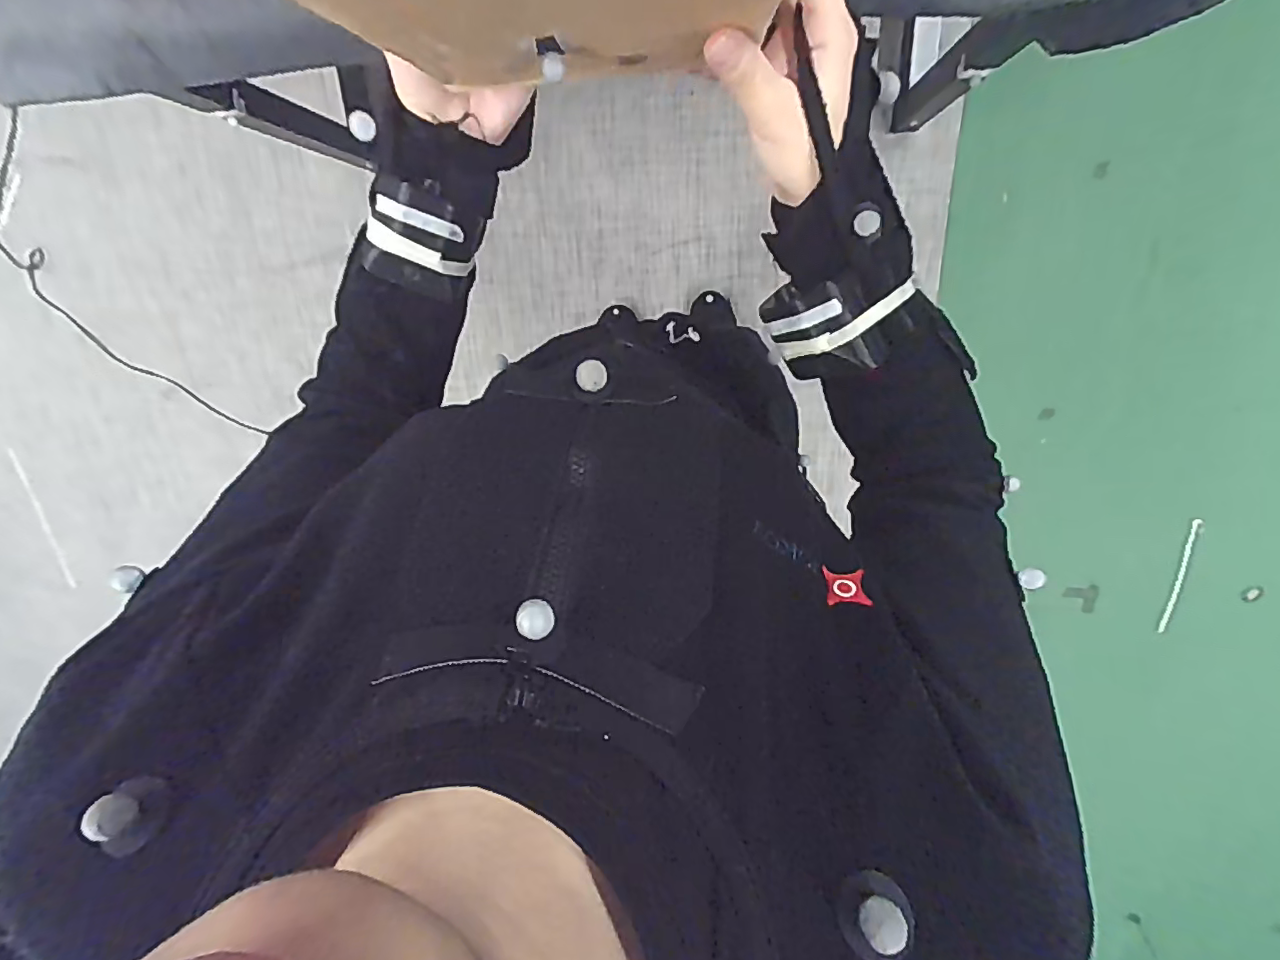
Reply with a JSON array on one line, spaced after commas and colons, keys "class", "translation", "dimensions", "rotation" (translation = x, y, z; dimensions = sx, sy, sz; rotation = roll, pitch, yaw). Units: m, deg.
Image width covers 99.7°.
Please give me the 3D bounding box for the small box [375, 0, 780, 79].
[{"class": "small box", "translation": [-0.030, -0.259, 0.175], "dimensions": [0.168, 0.176, 0.179], "rotation": [-2, 118, 4]}]
